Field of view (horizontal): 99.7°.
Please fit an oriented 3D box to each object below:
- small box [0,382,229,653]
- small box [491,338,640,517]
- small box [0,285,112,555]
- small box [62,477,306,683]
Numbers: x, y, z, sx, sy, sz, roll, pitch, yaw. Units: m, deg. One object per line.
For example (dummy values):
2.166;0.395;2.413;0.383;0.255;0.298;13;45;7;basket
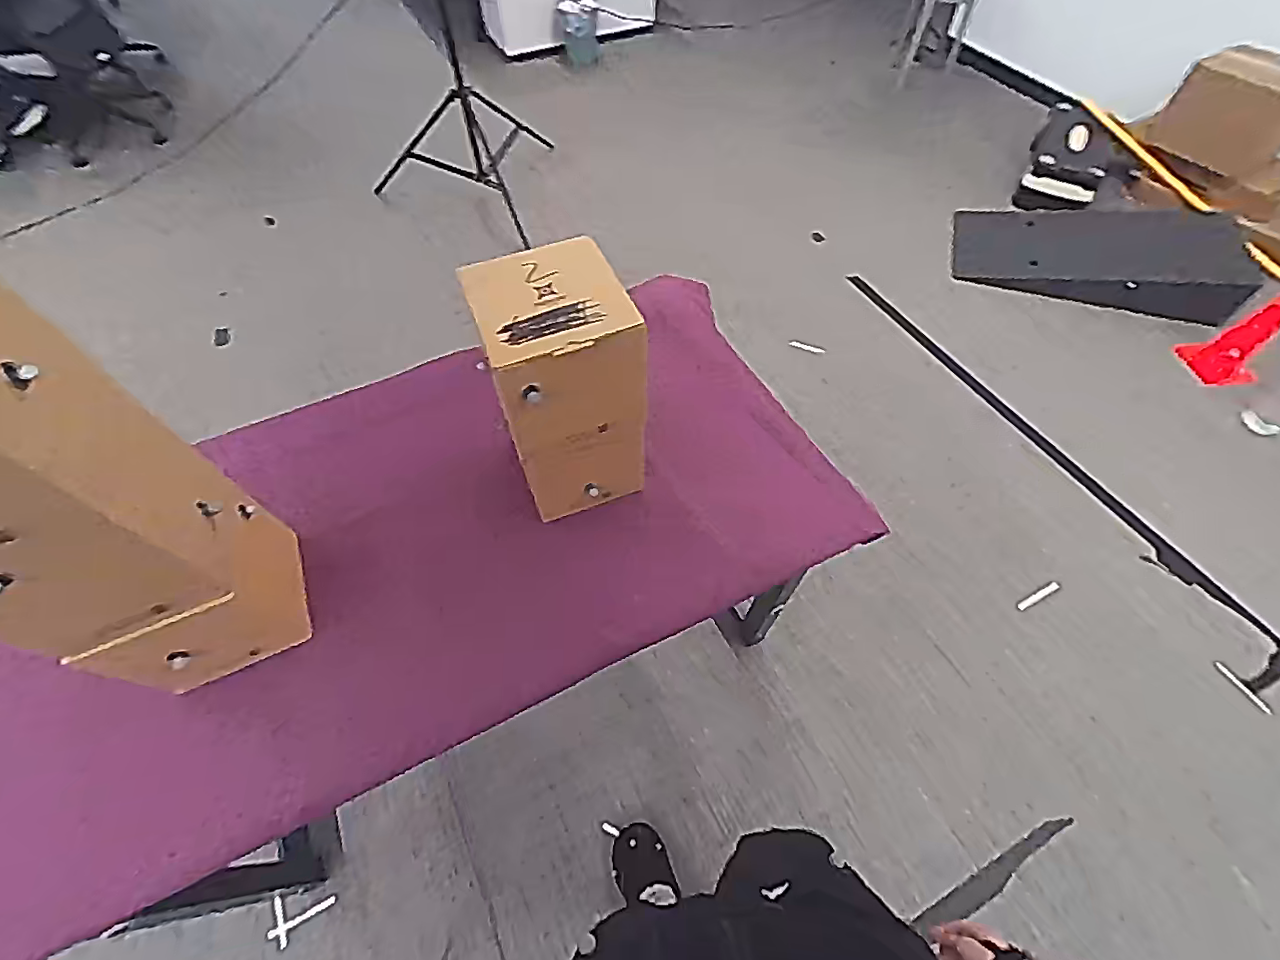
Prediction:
-0.549;0.041;0.536;0.168;0.176;0.179;-24;60;-14;small box
-0.106;-0.075;0.801;0.168;0.176;0.179;-19;60;-11;small box
-0.544;-0.048;0.396;0.168;0.176;0.179;-23;61;-14;small box
-0.546;0.133;0.671;0.168;0.176;0.179;-23;60;-14;small box
